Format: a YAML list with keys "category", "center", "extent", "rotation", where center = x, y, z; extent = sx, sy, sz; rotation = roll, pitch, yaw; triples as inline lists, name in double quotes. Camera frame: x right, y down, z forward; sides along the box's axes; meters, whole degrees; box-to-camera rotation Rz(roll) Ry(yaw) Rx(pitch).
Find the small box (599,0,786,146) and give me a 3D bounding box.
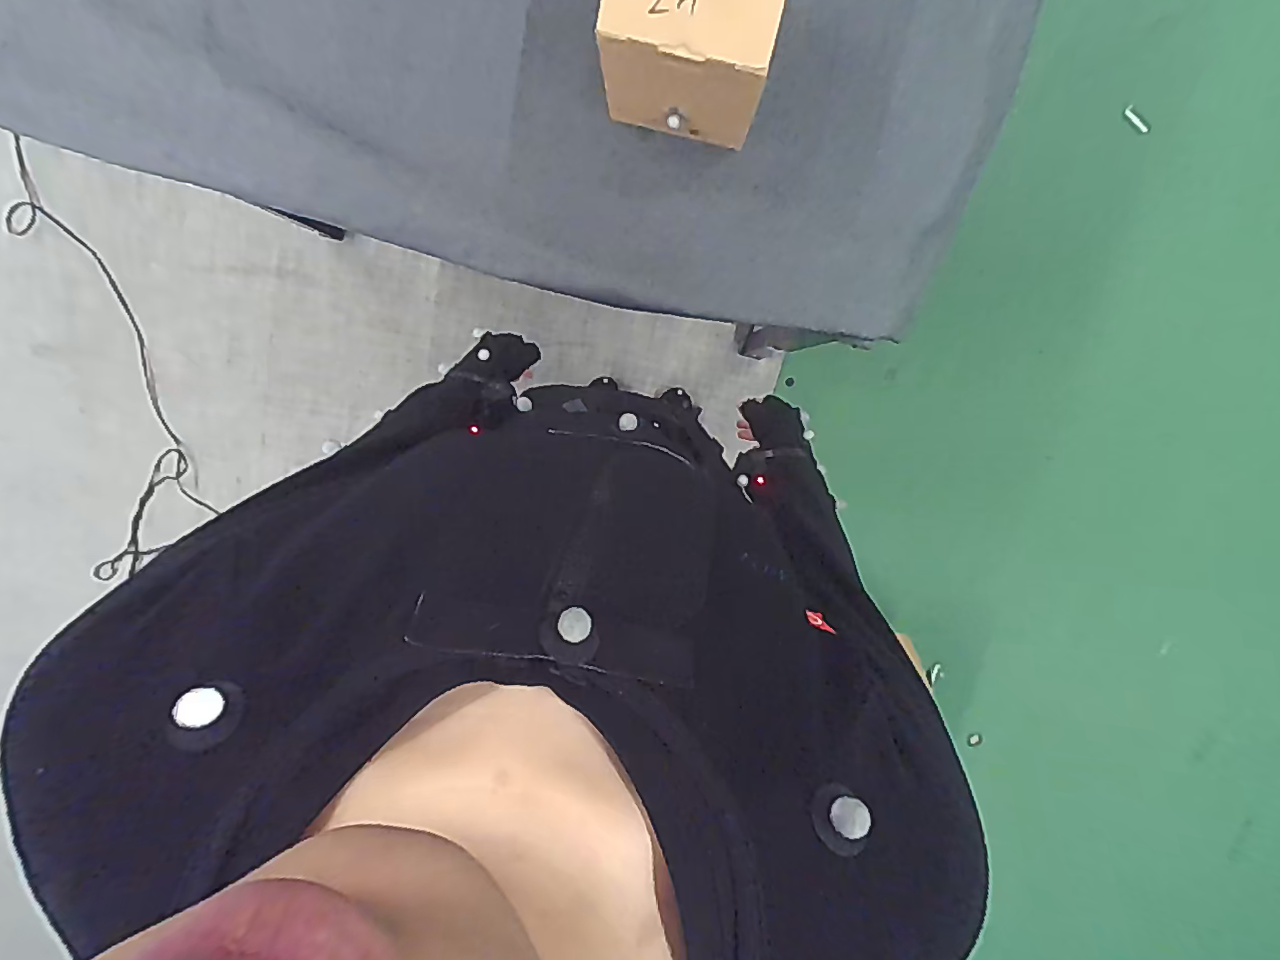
- category: "small box"
  center: [0.061, -0.494, 0.564]
  extent: [0.168, 0.176, 0.179]
  rotation: [14, 100, -1]
